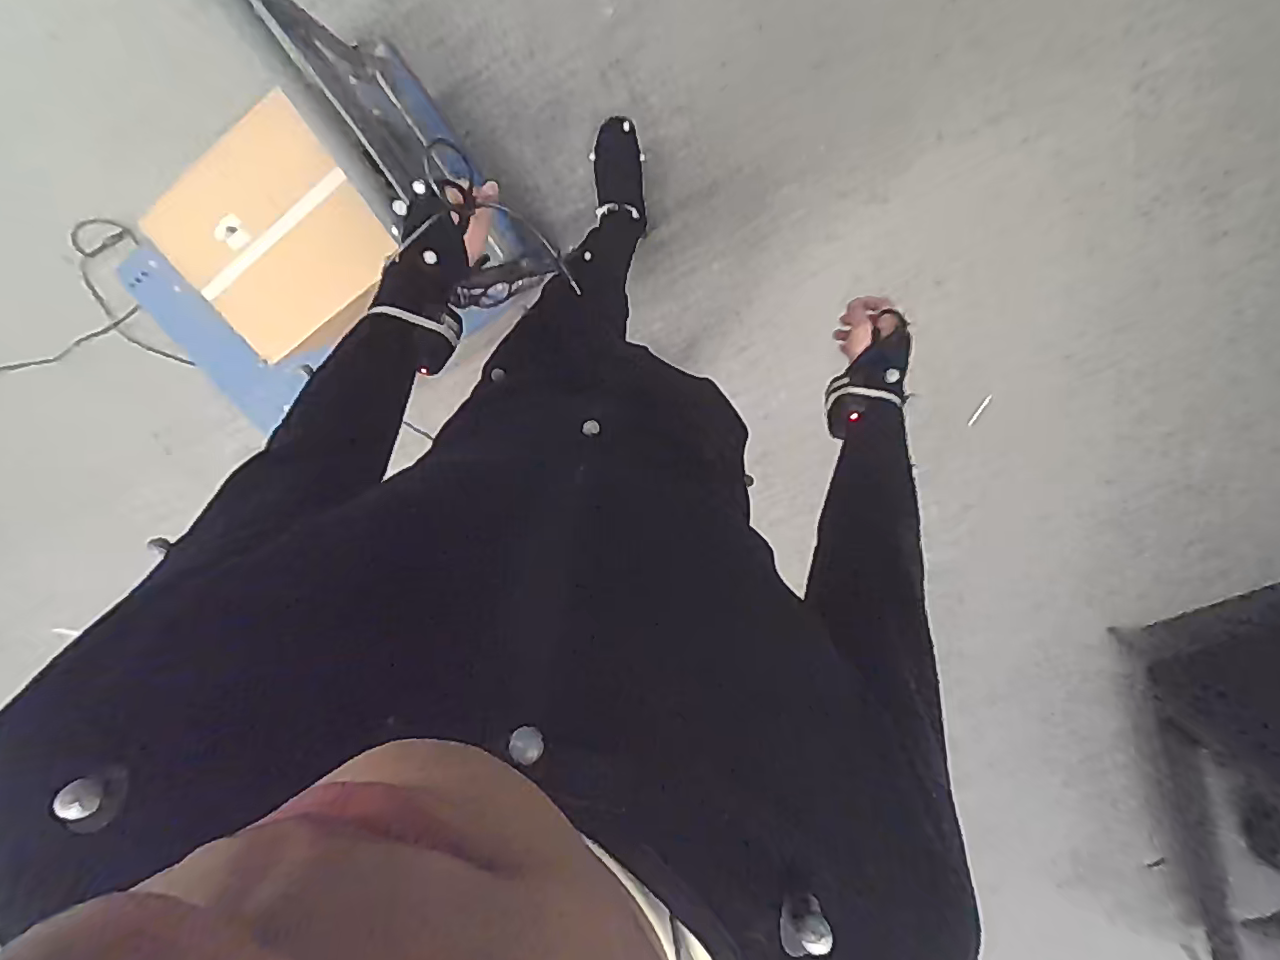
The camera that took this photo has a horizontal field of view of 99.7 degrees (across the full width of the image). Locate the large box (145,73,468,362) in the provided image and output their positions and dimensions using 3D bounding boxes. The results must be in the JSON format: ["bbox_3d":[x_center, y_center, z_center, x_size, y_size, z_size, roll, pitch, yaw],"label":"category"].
[{"bbox_3d":[-0.637,-0.508,1.101,0.408,0.320,0.320,-30,110,14],"label":"large box"}]
